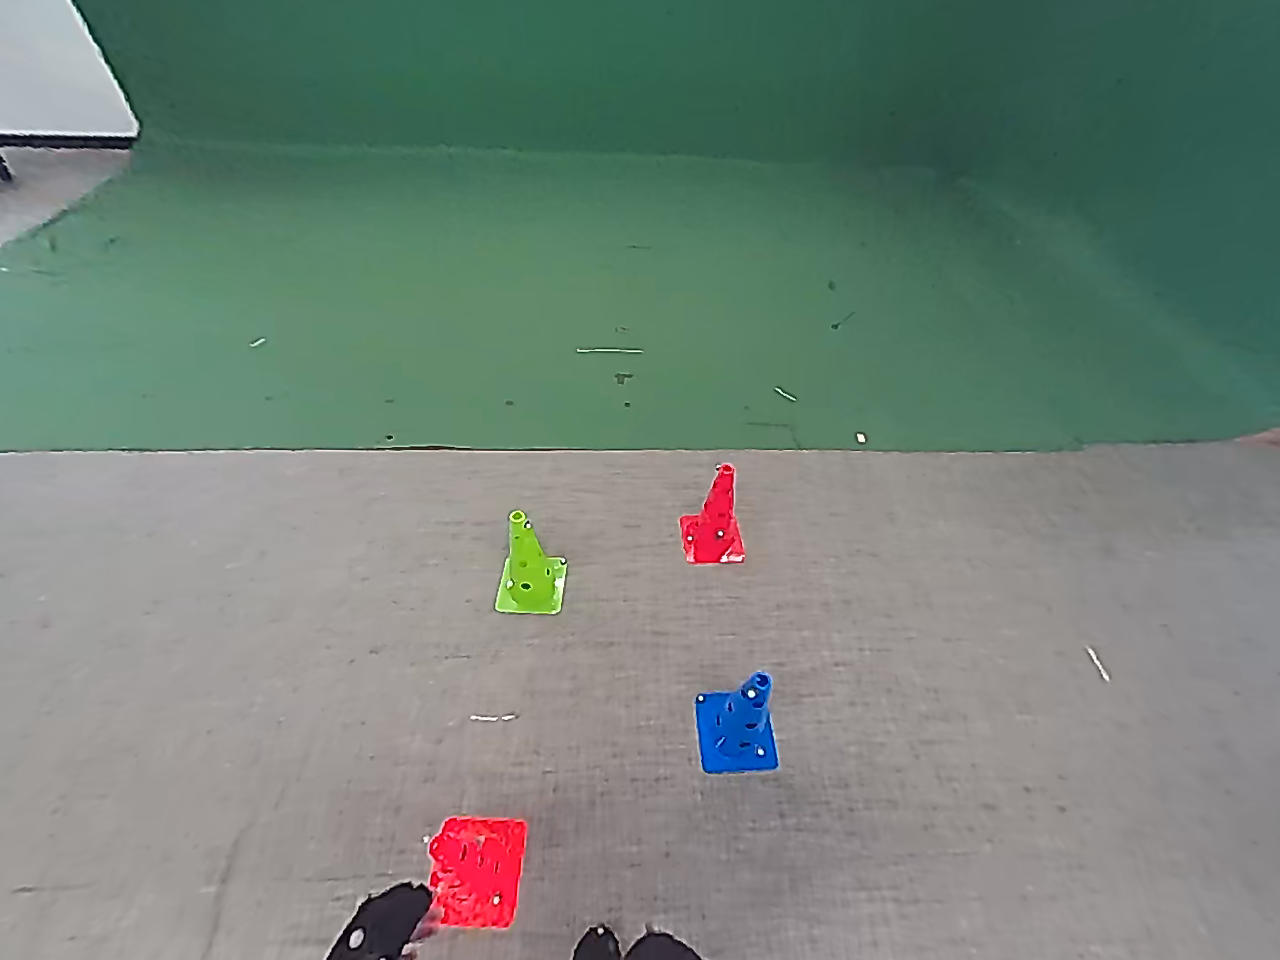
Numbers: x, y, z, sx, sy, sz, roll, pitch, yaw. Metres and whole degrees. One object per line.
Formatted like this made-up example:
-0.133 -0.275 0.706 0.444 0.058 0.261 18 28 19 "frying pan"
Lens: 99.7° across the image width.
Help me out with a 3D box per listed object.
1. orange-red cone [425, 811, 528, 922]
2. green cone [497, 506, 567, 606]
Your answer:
-0.354 0.749 1.091 0.198 0.360 0.199 4 47 0 "orange-red cone"
-0.333 0.195 1.568 0.200 0.368 0.202 1 50 -1 "green cone"
